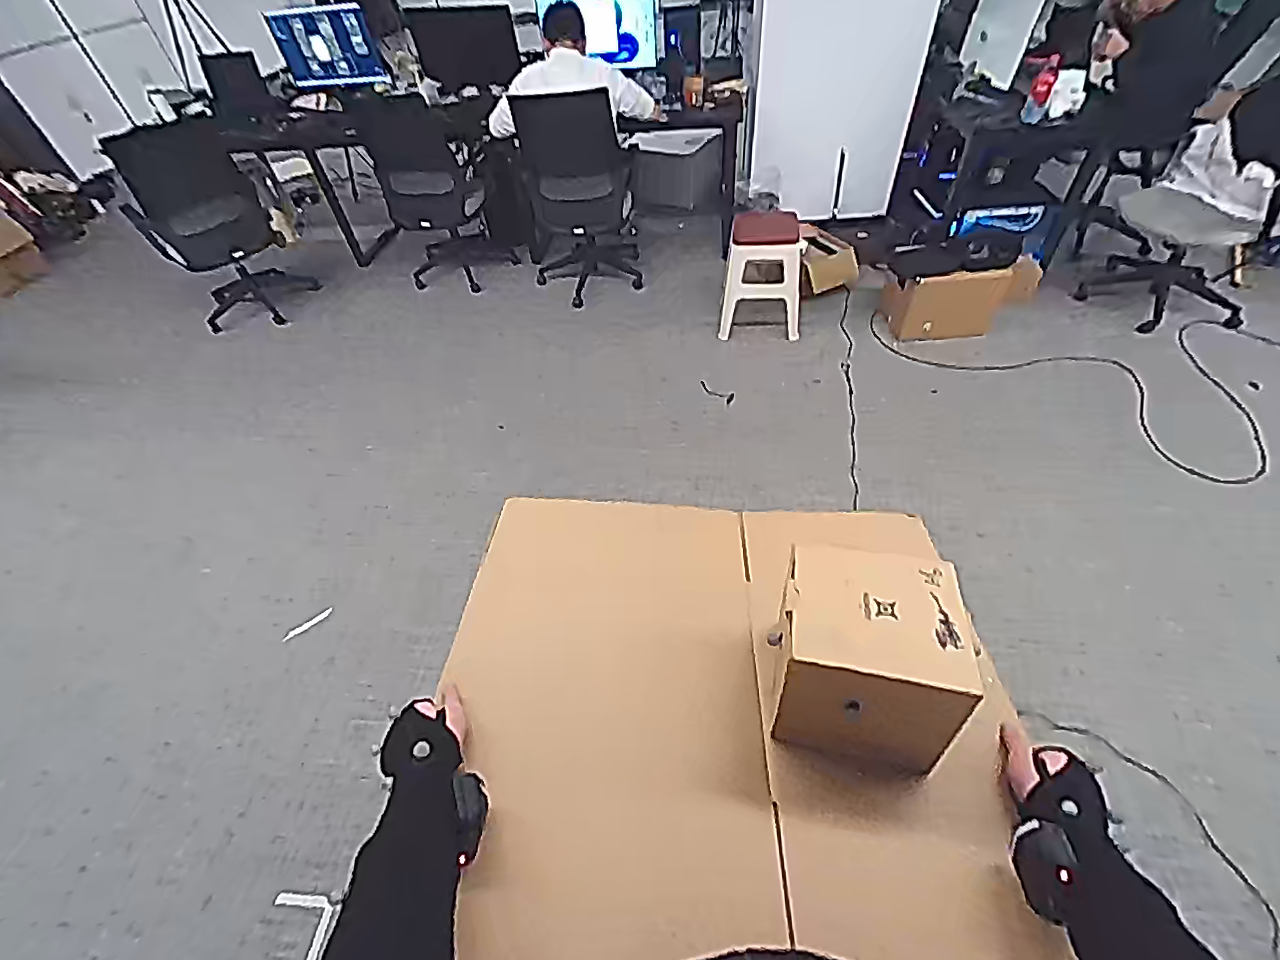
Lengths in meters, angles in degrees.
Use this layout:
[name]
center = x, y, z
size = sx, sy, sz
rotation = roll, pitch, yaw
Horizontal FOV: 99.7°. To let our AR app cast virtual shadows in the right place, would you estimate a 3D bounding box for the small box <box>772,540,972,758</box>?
[small box]
center = 0.251, 0.195, 0.630
size = 0.179, 0.176, 0.168
rotation = 7, 41, 13
